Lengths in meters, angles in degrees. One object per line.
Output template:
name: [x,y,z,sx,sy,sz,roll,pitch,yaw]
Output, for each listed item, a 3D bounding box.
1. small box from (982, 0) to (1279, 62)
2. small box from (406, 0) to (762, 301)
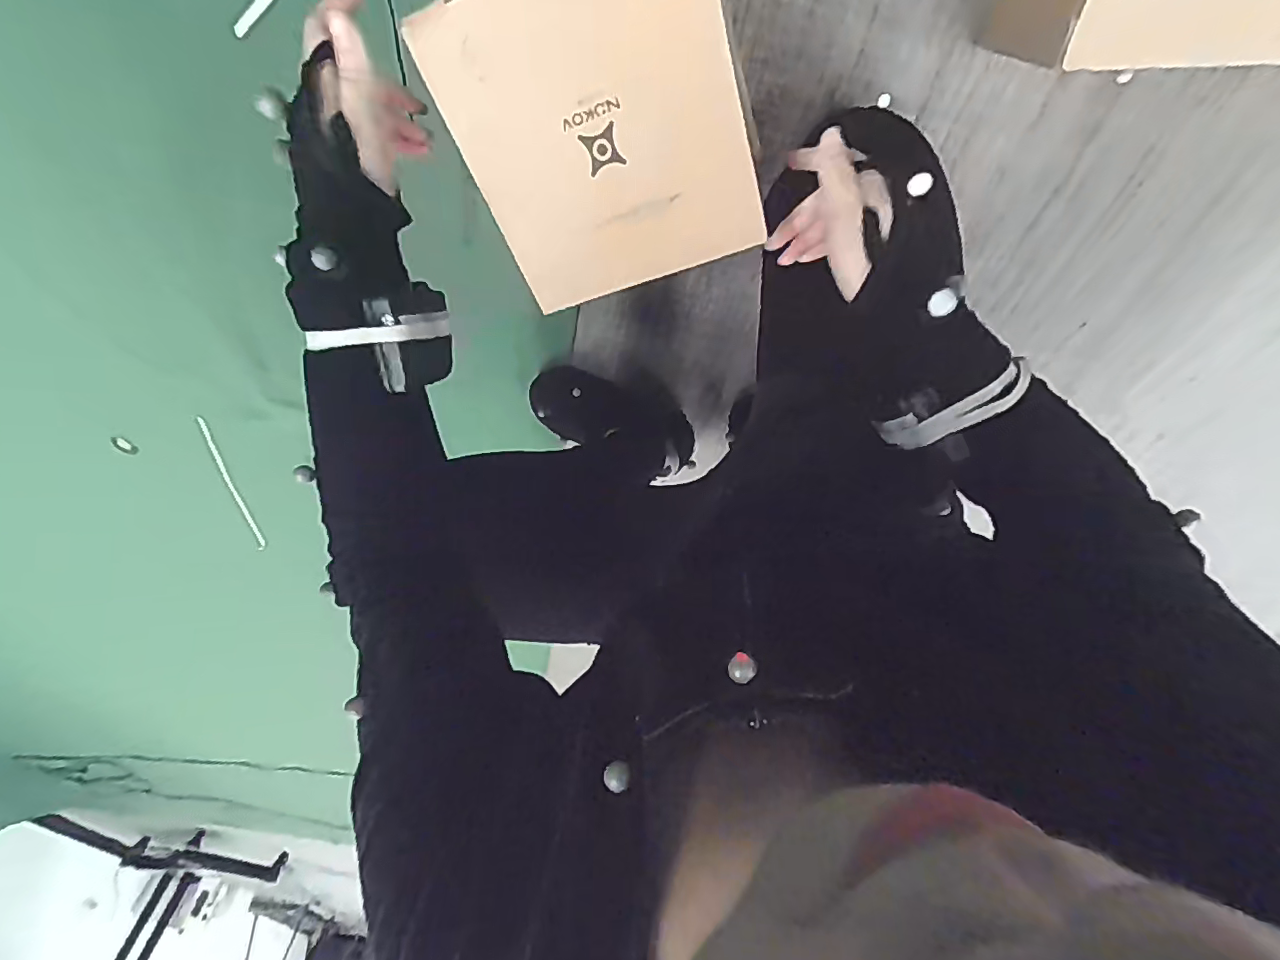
small box: [0.393,-0.419,0.397,0.179,0.176,0.168,1,134,5]
small box: [-0.018,-0.260,0.377,0.168,0.176,0.179,-11,132,17]
